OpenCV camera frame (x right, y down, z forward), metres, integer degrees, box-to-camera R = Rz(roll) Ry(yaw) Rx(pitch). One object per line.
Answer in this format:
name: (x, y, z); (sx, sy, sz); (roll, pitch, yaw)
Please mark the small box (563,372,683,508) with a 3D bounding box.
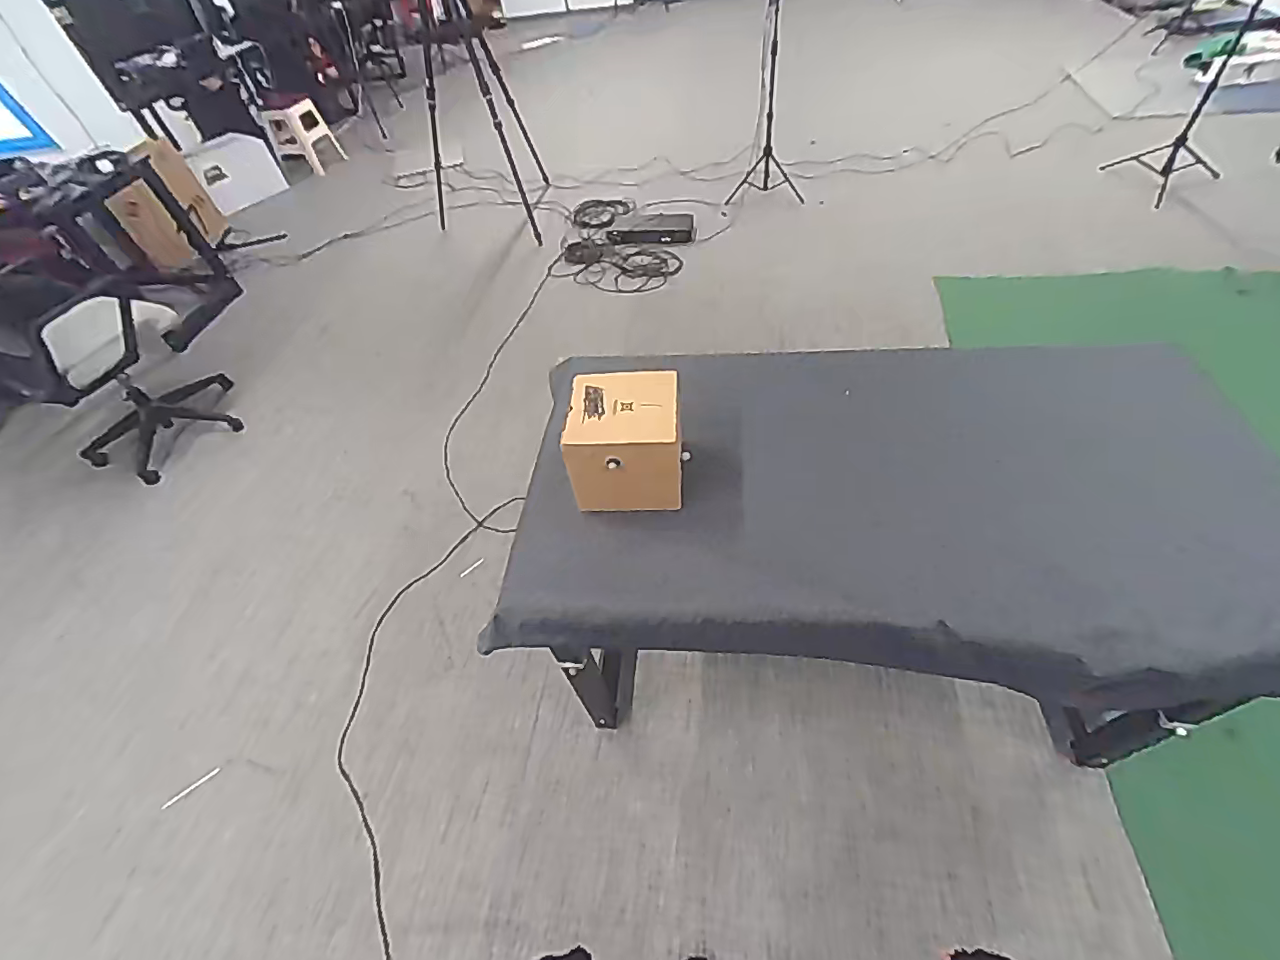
small box: (-0.018, -0.064, 0.919); (0.179, 0.176, 0.168); (-1, 50, 6)
